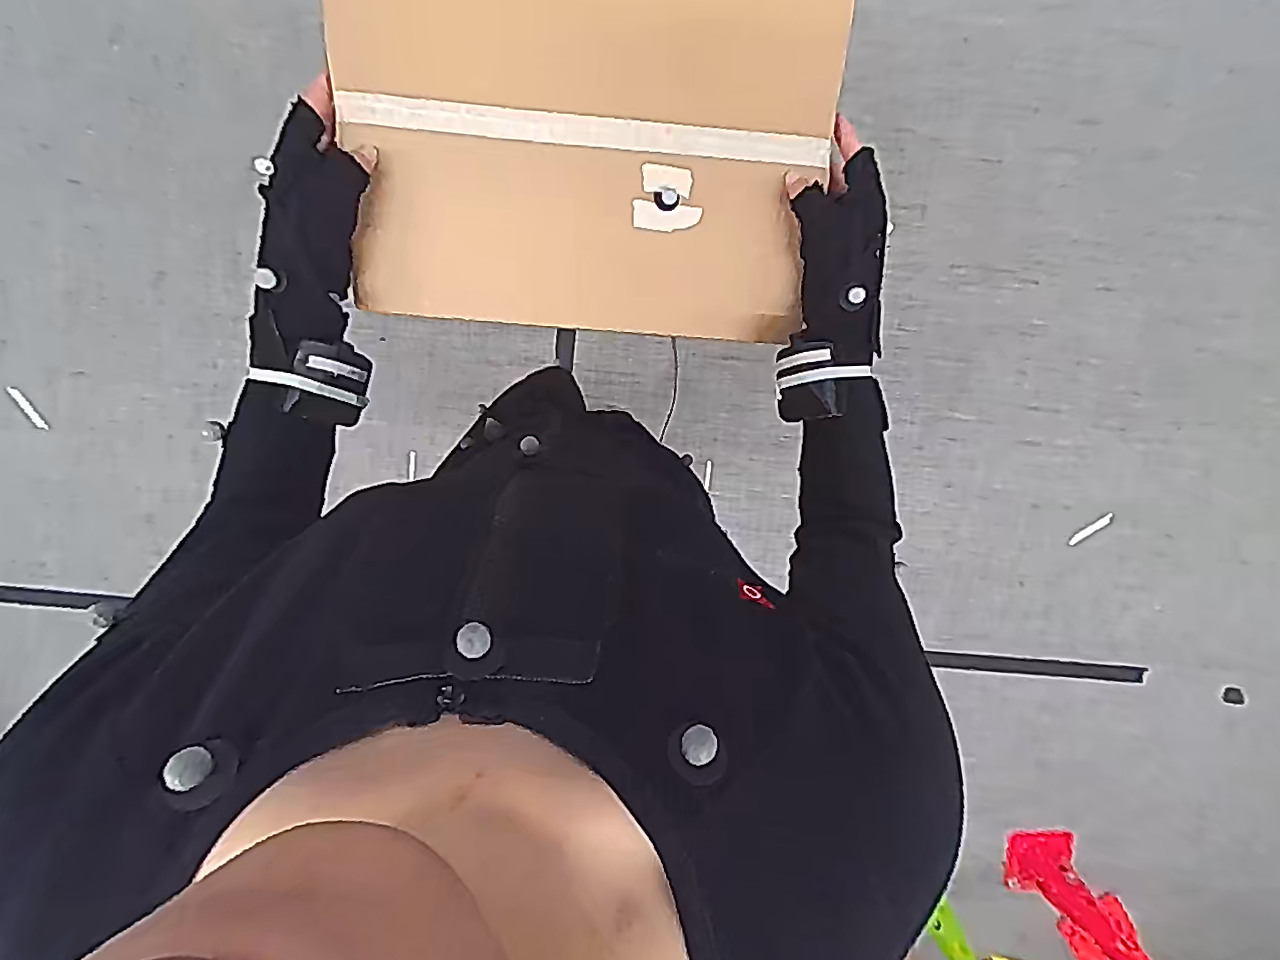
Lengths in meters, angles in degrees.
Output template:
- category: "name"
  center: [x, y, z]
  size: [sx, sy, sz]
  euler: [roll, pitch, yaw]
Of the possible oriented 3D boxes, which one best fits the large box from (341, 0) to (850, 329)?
- category: "large box"
  center: [-0.046, -0.343, 0.589]
  size: [0.408, 0.320, 0.320]
  euler: [3, 110, -5]
